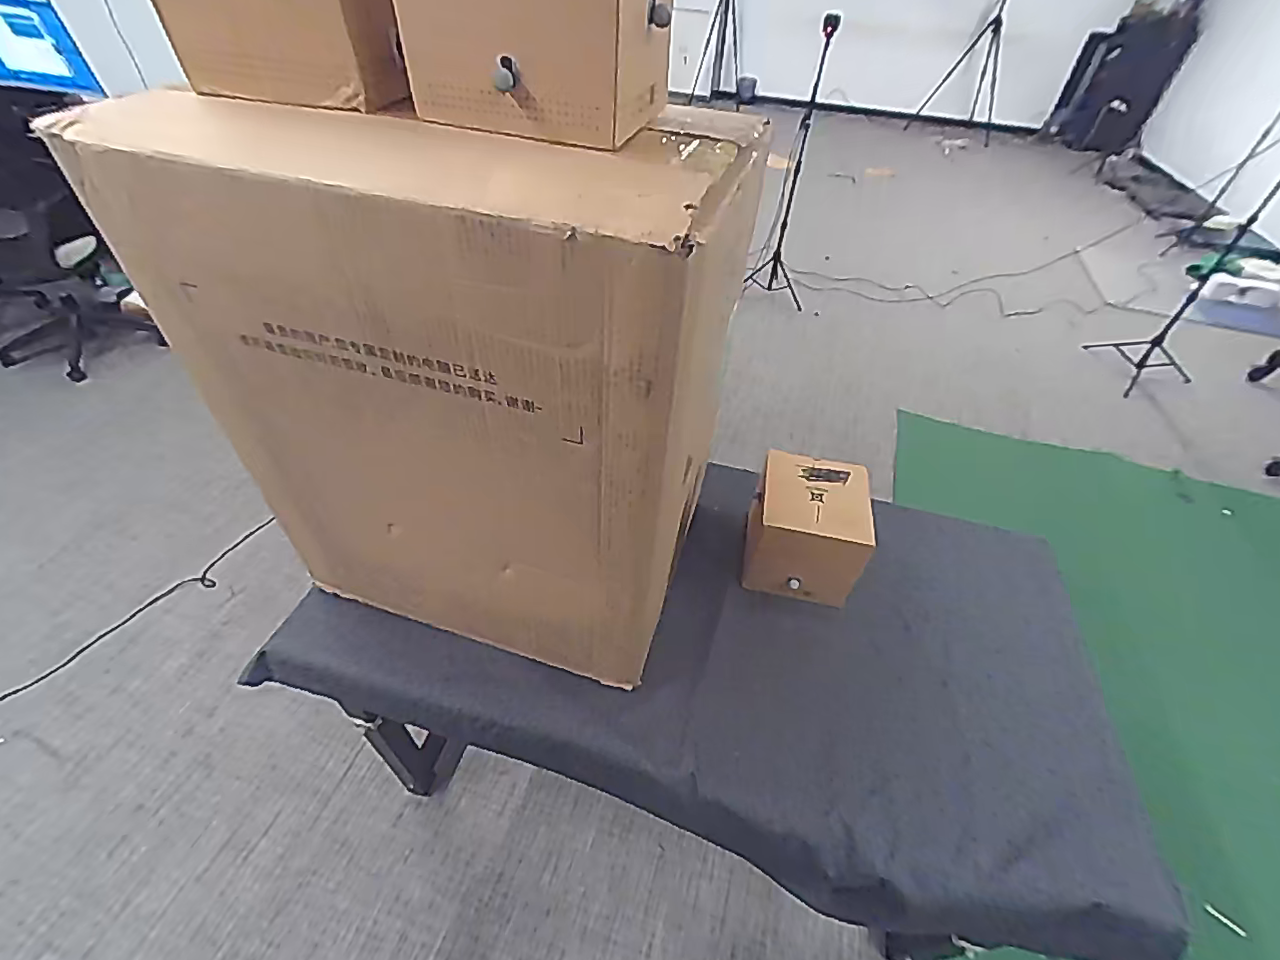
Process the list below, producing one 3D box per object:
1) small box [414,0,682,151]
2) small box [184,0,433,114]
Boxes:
[{"bbox_3d":[-0.064,-0.387,0.438,0.179,0.176,0.168,15,46,8],"label":"small box"},{"bbox_3d":[-0.277,-0.439,0.471,0.179,0.176,0.168,12,48,7],"label":"small box"}]
